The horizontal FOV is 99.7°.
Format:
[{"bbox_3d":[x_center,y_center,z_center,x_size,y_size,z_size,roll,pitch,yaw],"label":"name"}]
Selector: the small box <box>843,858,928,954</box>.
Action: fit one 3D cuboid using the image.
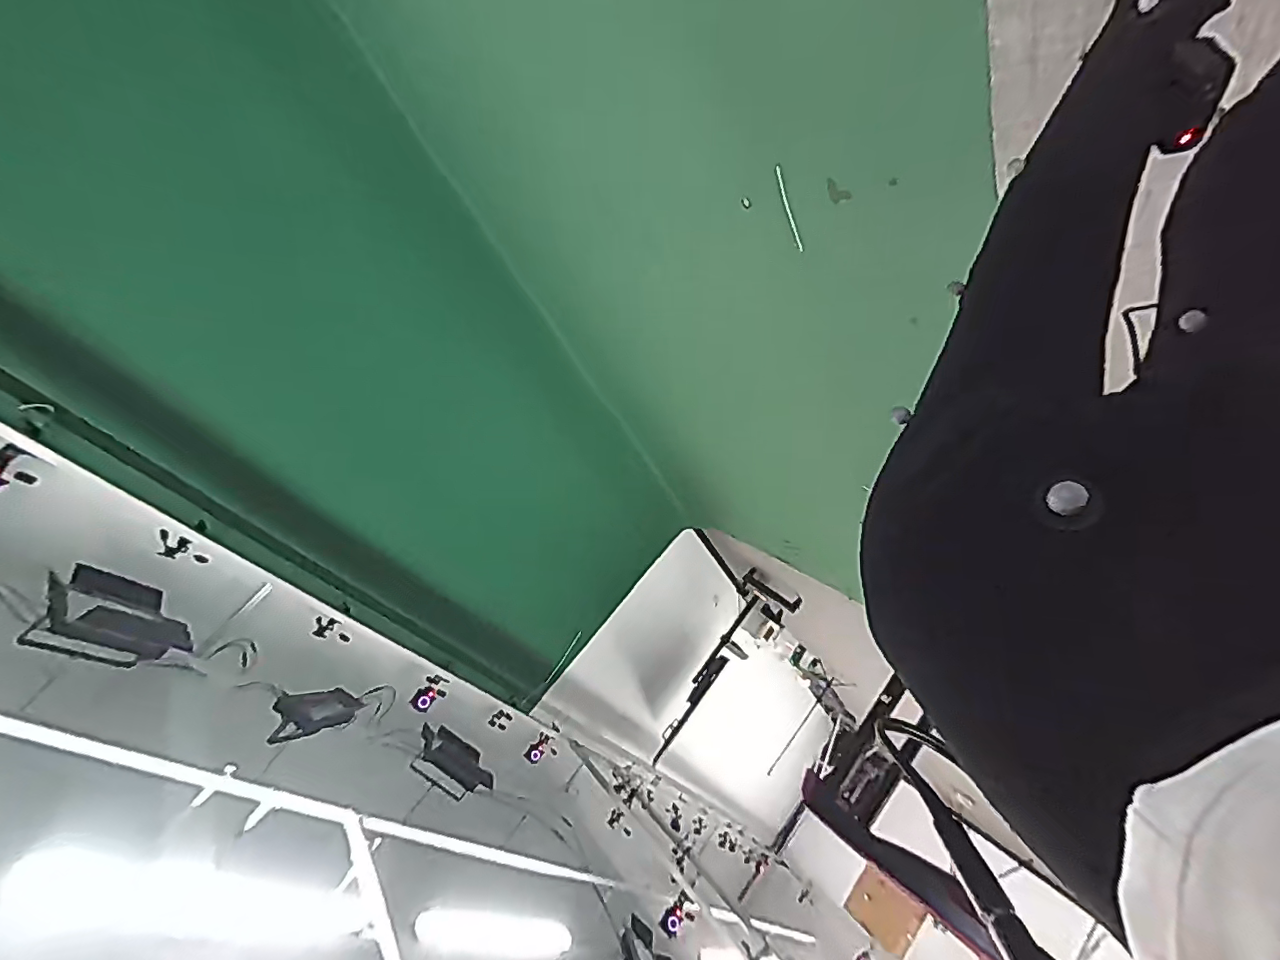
[{"bbox_3d":[0.774,1.330,1.697,0.168,0.176,0.179,25,161,50],"label":"small box"}]
